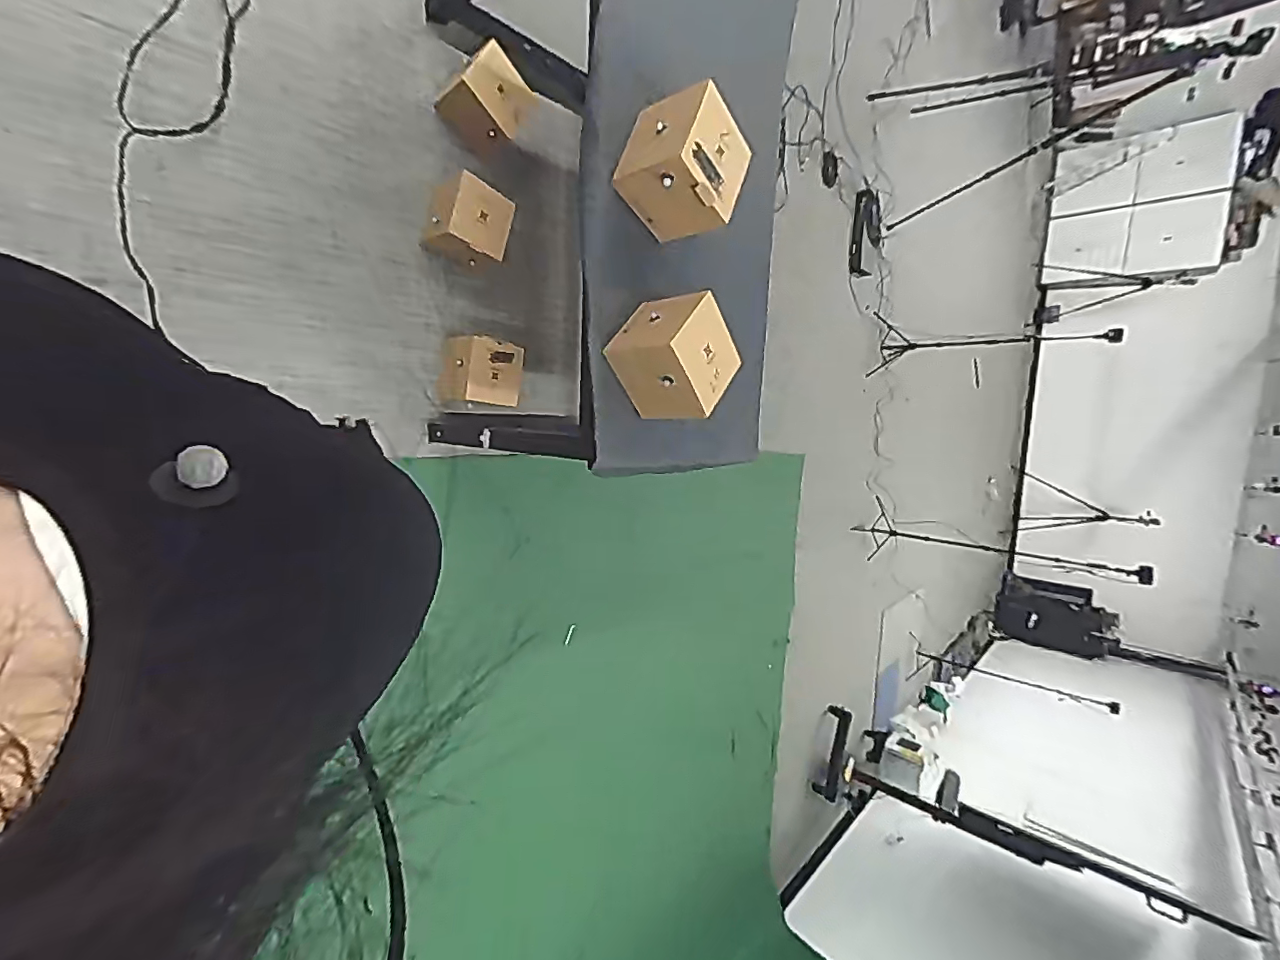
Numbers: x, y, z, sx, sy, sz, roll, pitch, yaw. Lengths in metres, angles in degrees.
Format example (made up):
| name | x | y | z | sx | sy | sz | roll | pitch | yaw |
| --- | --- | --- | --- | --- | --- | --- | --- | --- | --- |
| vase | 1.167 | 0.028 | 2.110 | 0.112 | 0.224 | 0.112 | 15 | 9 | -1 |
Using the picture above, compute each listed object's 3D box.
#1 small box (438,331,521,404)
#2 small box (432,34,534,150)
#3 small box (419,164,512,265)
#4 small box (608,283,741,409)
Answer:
| name | x | y | z | sx | sy | sz | roll | pitch | yaw |
| --- | --- | --- | --- | --- | --- | --- | --- | --- | --- |
| small box | -0.464 | -0.317 | 1.556 | 0.168 | 0.176 | 0.179 | 3 | 95 | -47 |
| small box | -0.432 | -1.049 | 1.480 | 0.179 | 0.176 | 0.168 | 42 | 66 | -43 |
| small box | -0.480 | -0.713 | 1.479 | 0.168 | 0.176 | 0.179 | 16 | 83 | -48 |
| small box | 0.067 | -0.251 | 1.055 | 0.168 | 0.176 | 0.179 | -56 | 132 | -28 |
